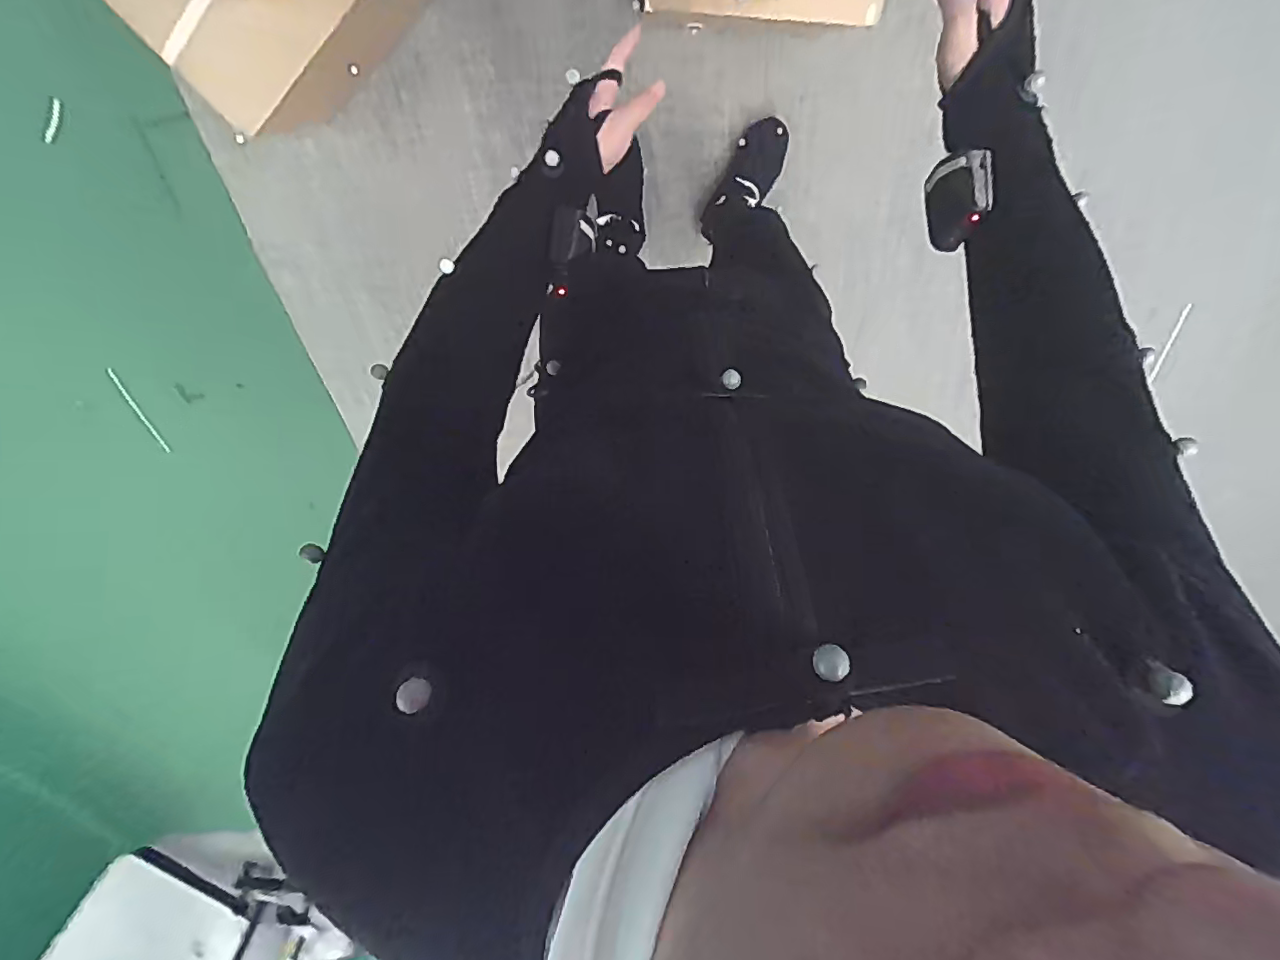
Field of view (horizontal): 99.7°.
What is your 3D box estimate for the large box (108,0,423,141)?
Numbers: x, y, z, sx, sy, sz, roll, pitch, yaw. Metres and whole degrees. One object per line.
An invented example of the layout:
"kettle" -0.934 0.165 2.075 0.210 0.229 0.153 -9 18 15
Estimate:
"large box" -0.677 -0.931 1.008 0.408 0.320 0.320 -30 120 23
